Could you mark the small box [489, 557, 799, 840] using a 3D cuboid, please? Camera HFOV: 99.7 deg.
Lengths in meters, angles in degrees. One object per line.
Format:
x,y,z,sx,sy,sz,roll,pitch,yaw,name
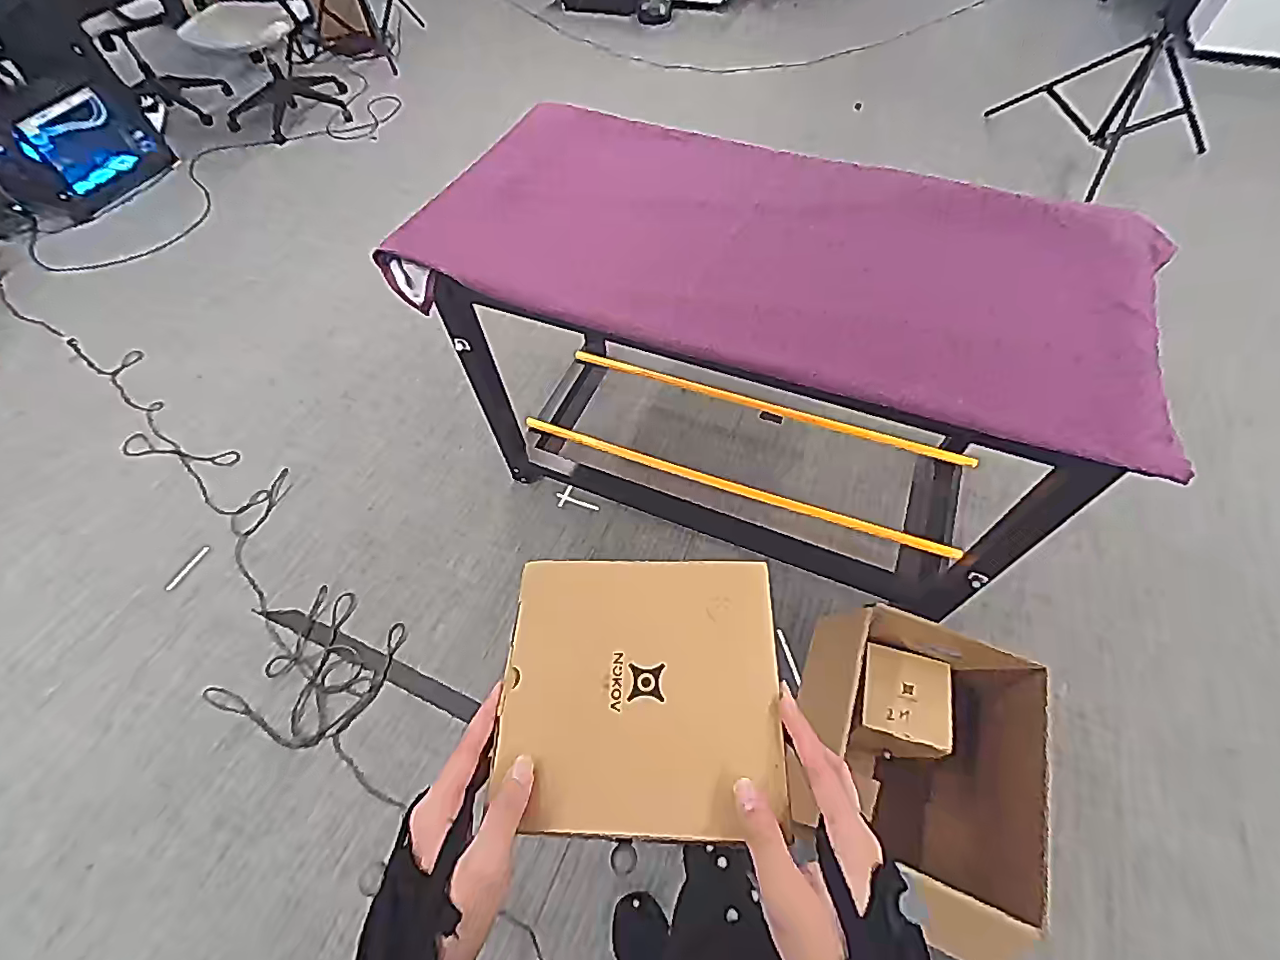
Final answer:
0.009,0.168,0.408,0.179,0.176,0.168,-1,57,5,small box
